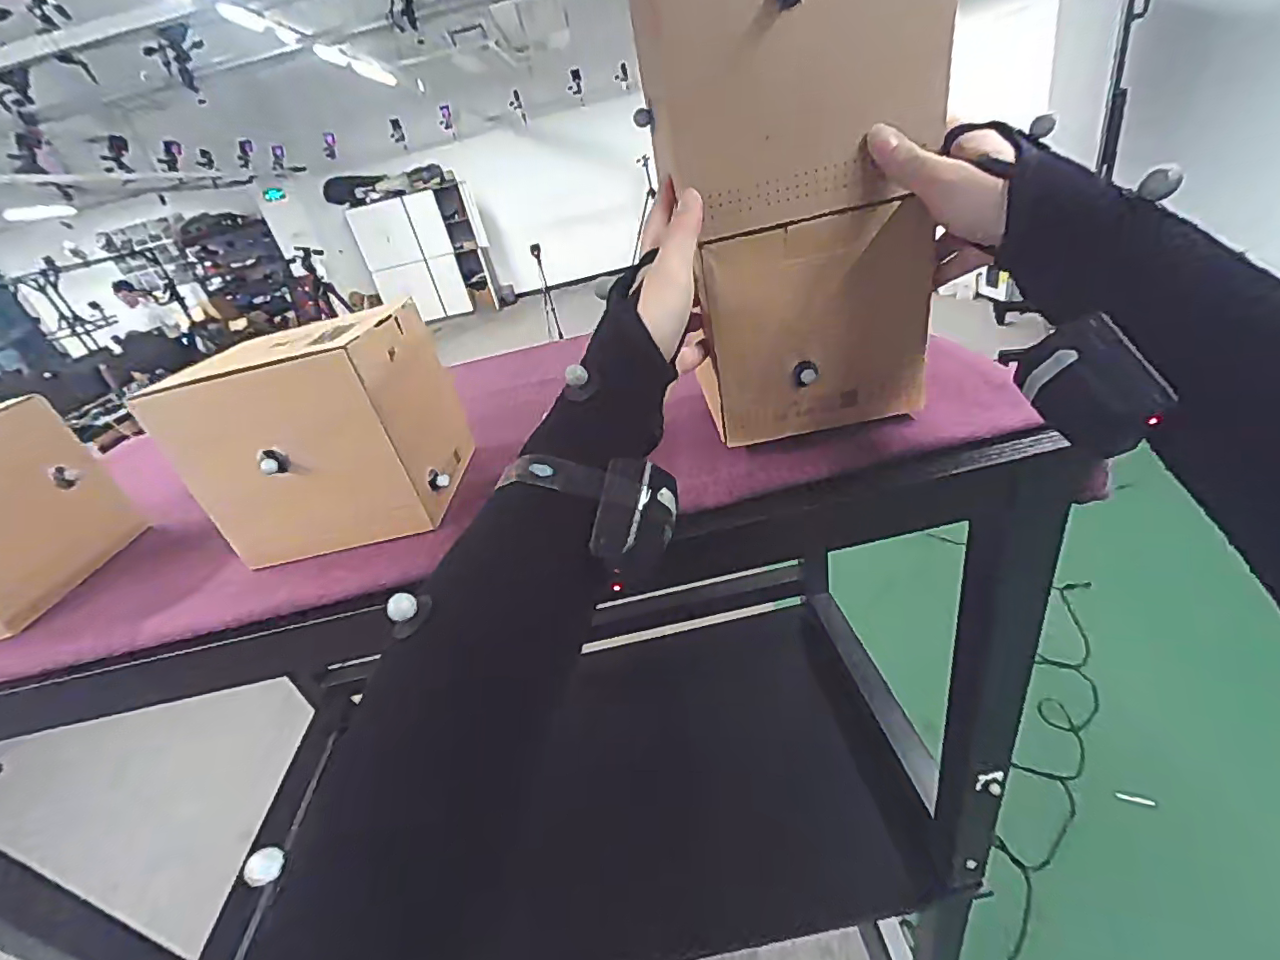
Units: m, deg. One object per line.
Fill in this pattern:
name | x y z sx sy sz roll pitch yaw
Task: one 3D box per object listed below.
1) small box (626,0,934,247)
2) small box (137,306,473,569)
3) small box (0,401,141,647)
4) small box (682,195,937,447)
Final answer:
small box | 0.095 -0.282 0.395 0.179 0.176 0.168 -12 32 4
small box | -0.278 -0.043 0.505 0.179 0.176 0.168 -13 28 4
small box | -0.636 0.048 0.507 0.168 0.176 0.179 -14 29 1
small box | 0.134 -0.150 0.486 0.168 0.176 0.179 -11 32 3
